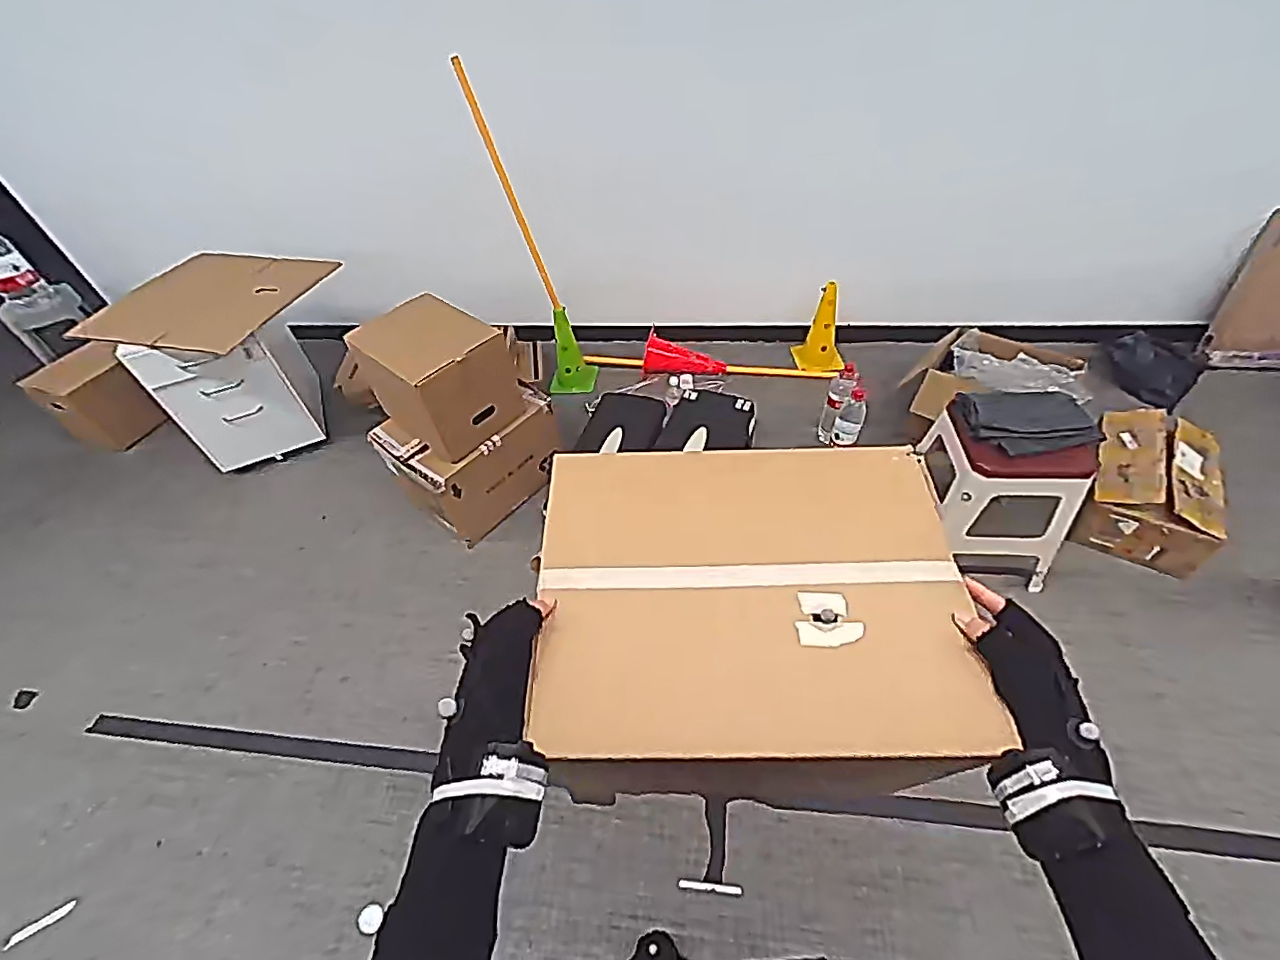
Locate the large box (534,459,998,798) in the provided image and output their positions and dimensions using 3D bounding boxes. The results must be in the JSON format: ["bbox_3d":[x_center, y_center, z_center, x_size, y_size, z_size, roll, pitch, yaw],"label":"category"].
[{"bbox_3d":[0.107,0.193,0.663,0.408,0.320,0.320,-1,56,1],"label":"large box"}]
